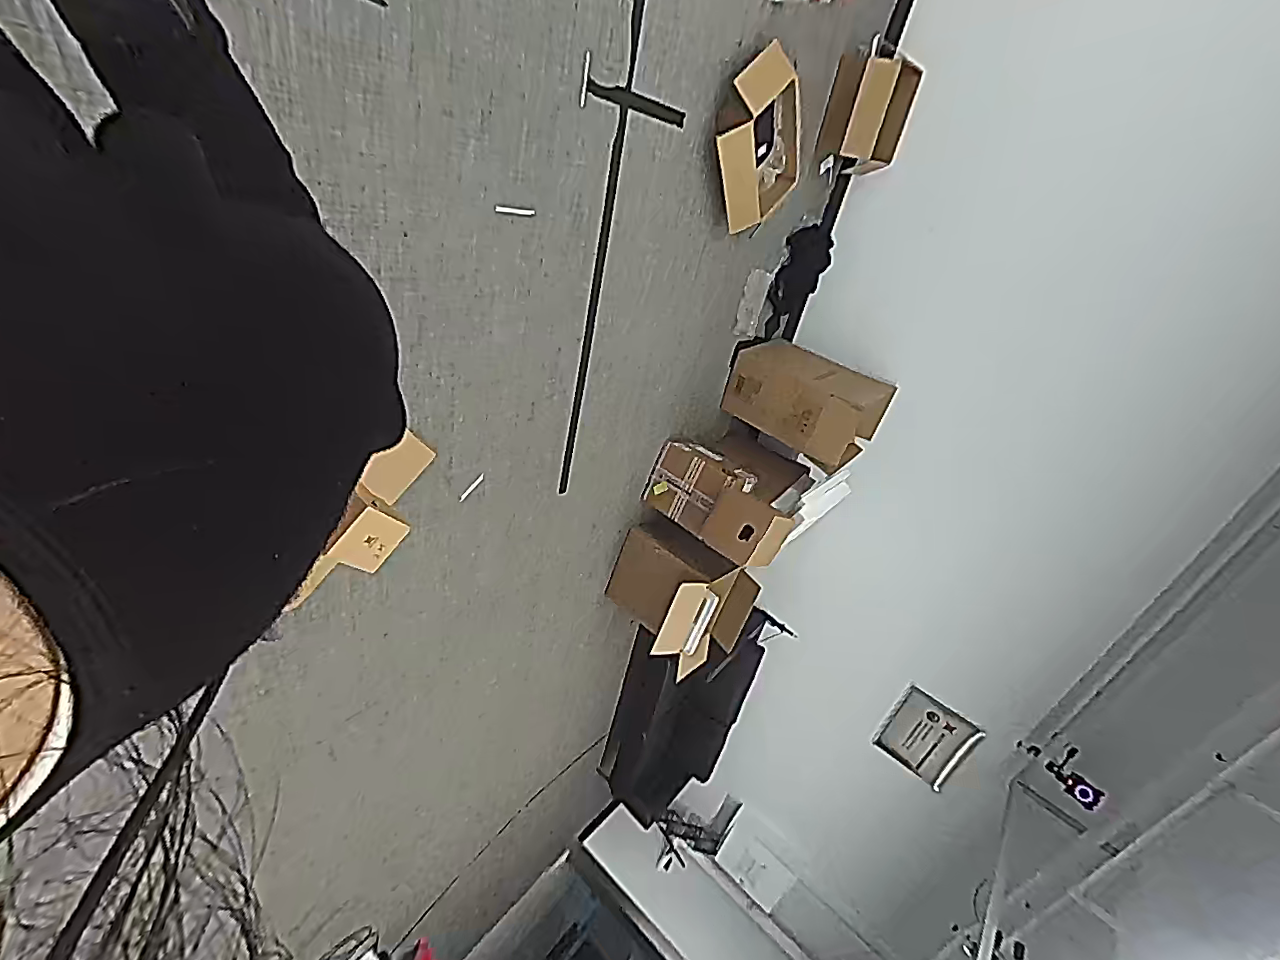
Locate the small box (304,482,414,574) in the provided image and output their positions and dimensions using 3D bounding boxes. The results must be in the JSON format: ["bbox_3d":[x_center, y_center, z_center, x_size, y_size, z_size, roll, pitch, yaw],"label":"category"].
[{"bbox_3d":[-0.778,0.129,1.494,0.168,0.176,0.179,-51,151,-9],"label":"small box"}]
